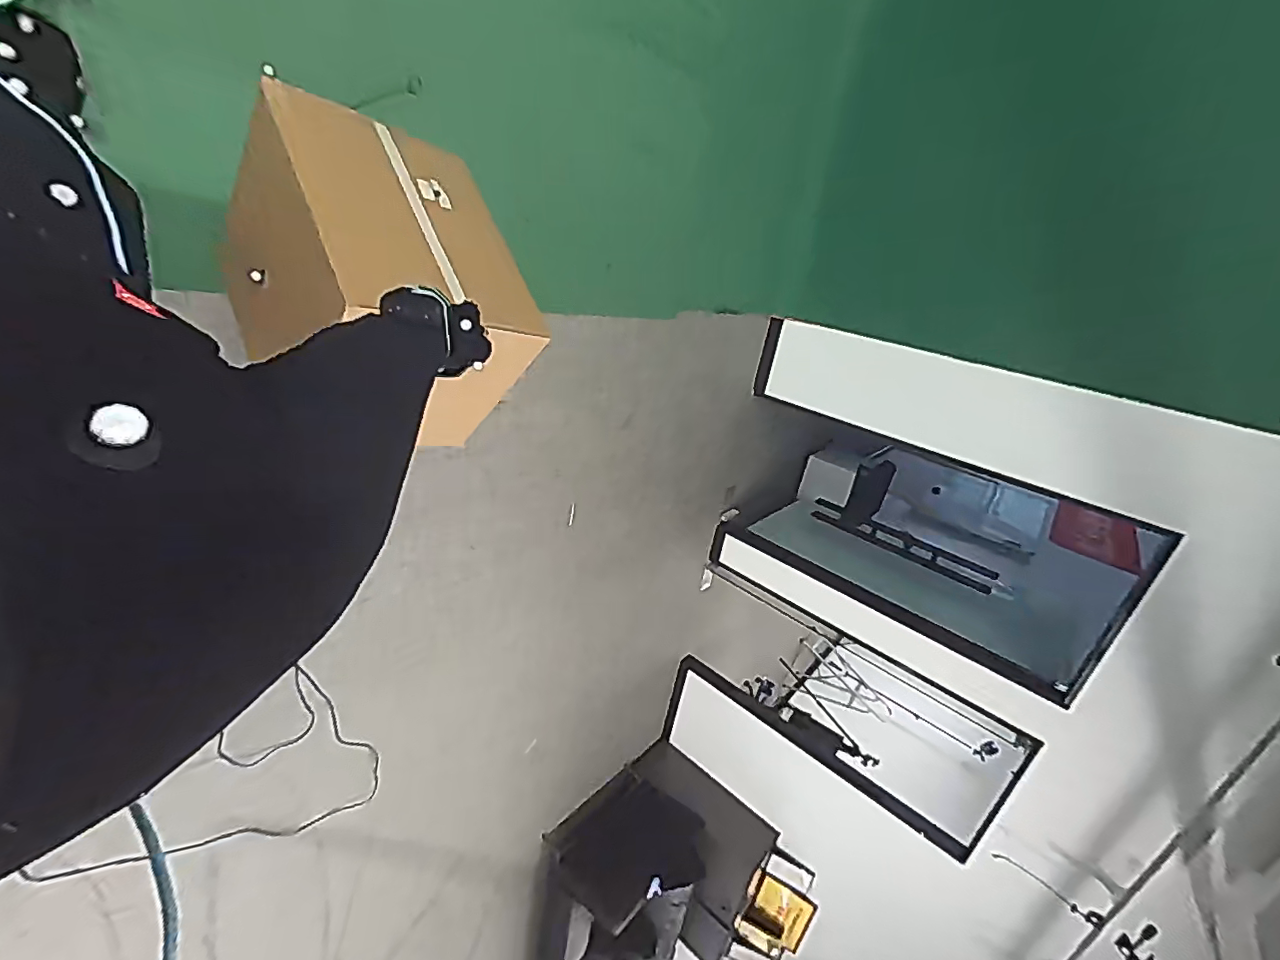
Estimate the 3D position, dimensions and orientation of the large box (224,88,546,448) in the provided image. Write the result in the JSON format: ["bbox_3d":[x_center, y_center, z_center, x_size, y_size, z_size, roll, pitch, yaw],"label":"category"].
[{"bbox_3d":[-0.427,-0.305,0.887,0.320,0.408,0.320,-39,161,34],"label":"large box"}]
